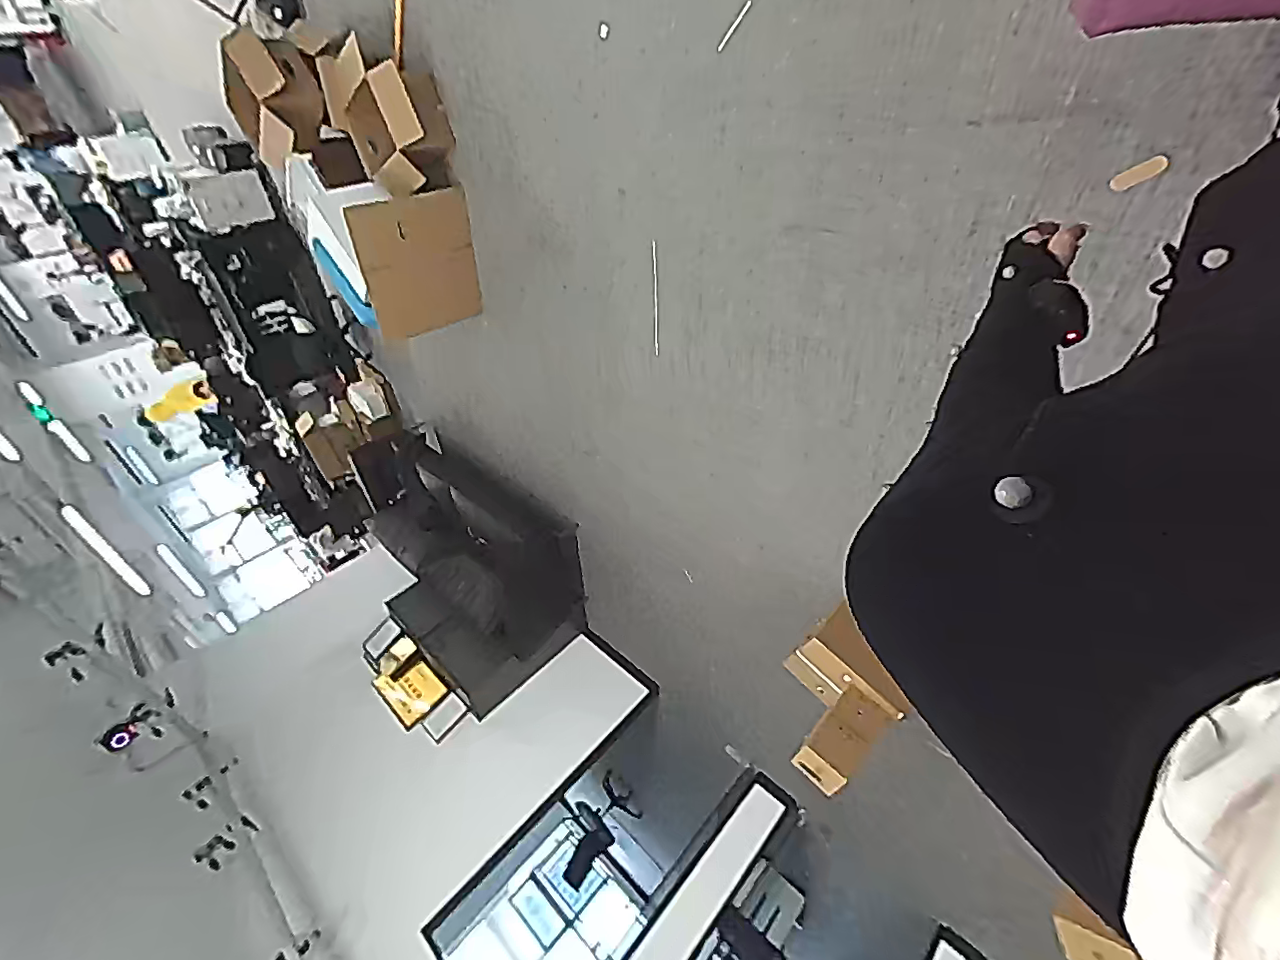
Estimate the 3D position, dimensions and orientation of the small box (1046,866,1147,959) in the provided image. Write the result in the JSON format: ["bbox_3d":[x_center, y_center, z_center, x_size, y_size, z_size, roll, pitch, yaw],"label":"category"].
[{"bbox_3d":[1.212,1.188,1.432,0.168,0.176,0.179,-5,113,52],"label":"small box"}]

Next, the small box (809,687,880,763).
[{"bbox_3d":[0.775,0.917,2.038,0.168,0.176,0.179,38,141,25],"label":"small box"}]
